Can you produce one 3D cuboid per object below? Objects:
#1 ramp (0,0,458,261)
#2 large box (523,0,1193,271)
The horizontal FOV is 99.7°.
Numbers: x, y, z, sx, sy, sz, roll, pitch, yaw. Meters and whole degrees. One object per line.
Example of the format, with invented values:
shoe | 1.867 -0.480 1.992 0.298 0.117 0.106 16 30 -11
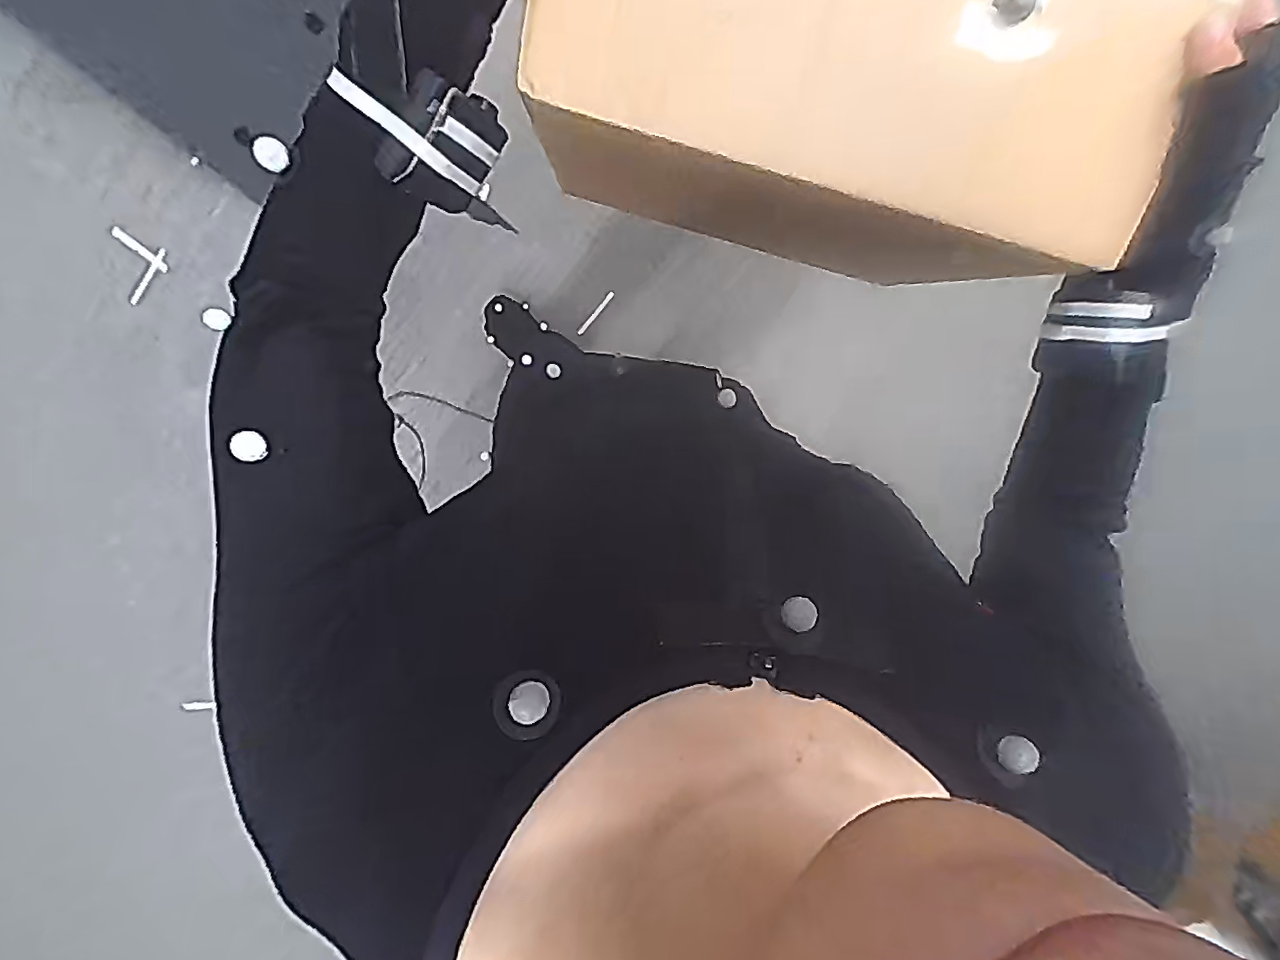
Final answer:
ramp | -0.933 -0.990 1.103 0.991 0.206 0.509 37 98 -12
large box | 0.140 -0.386 0.452 0.408 0.320 0.320 11 107 -7
